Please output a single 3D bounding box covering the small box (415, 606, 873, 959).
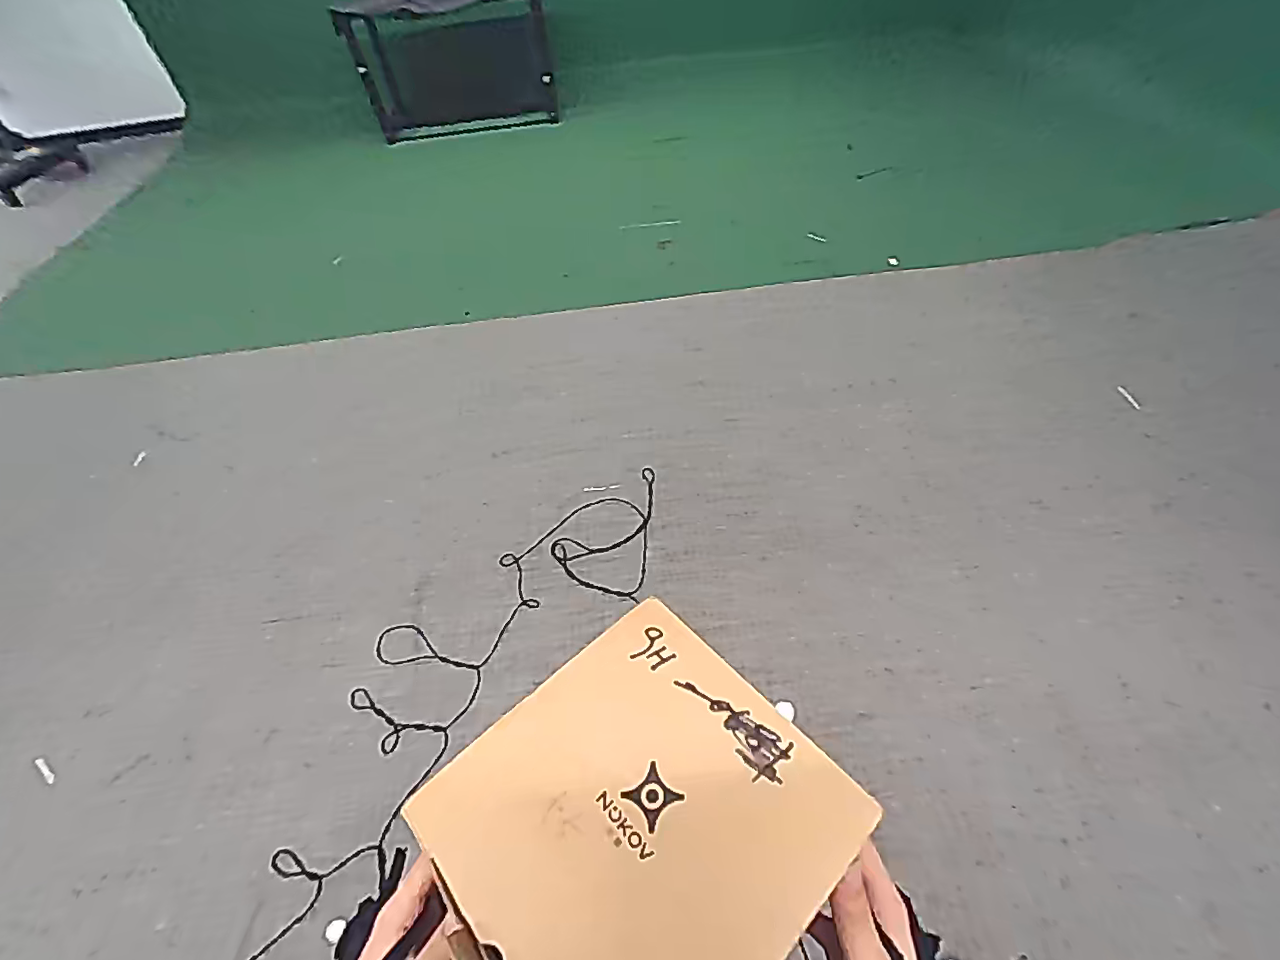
[{"bbox_3d":[0.005,0.221,0.330,0.179,0.176,0.168,-36,55,-25],"label":"small box"}]
